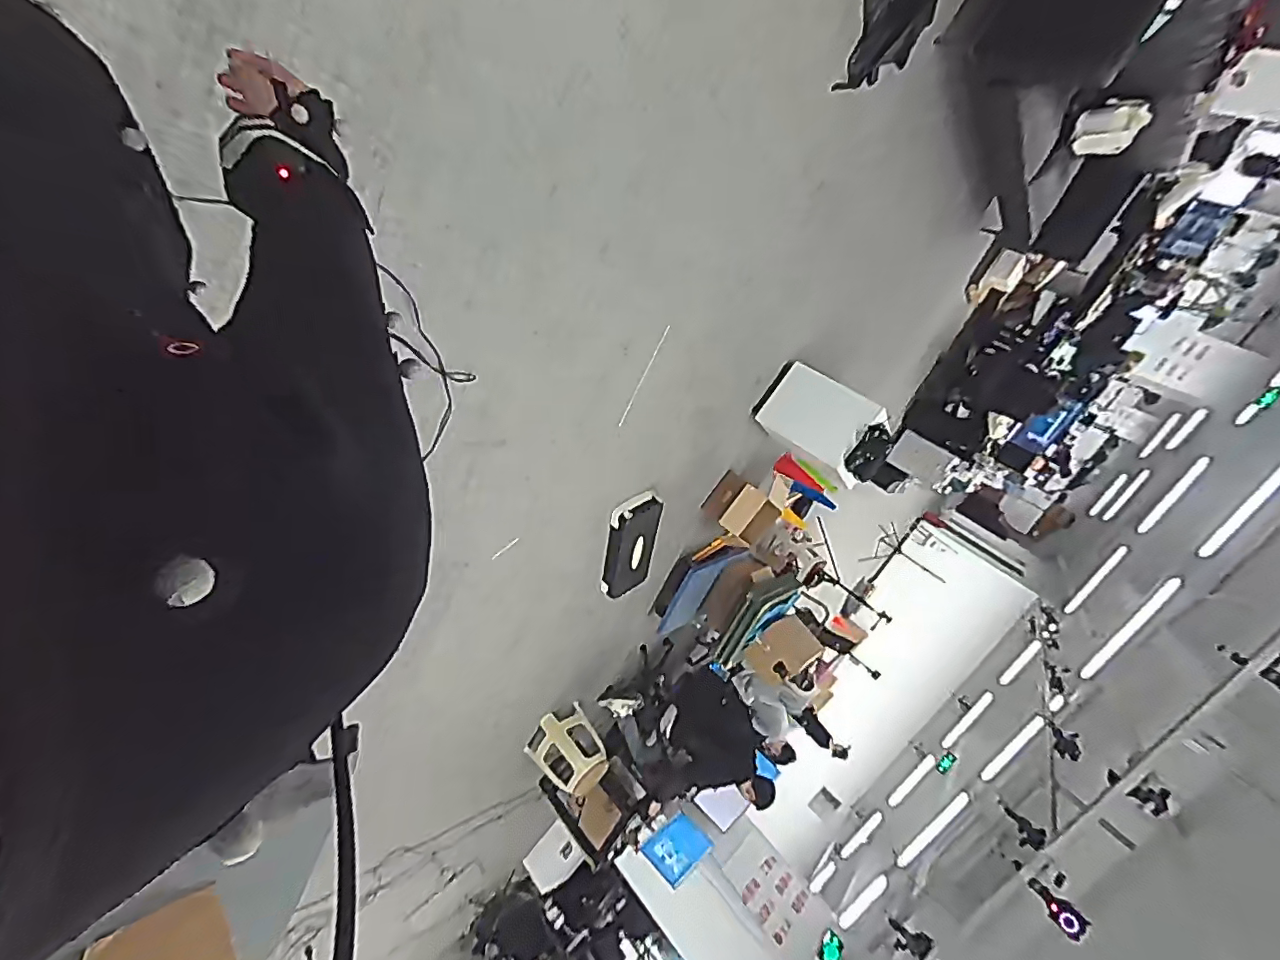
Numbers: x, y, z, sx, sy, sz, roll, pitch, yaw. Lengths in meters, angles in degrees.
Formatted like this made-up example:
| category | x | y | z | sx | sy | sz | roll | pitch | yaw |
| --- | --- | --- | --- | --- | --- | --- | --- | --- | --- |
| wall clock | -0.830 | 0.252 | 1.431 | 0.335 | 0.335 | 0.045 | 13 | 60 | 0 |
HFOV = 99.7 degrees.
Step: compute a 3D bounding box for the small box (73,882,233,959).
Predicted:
| category | x | y | z | sx | sy | sz | roll | pitch | yaw |
| --- | --- | --- | --- | --- | --- | --- | --- | --- | --- |
| small box | -0.830 | 0.842 | 0.917 | 0.179 | 0.176 | 0.168 | 2 | 121 | -53 |
